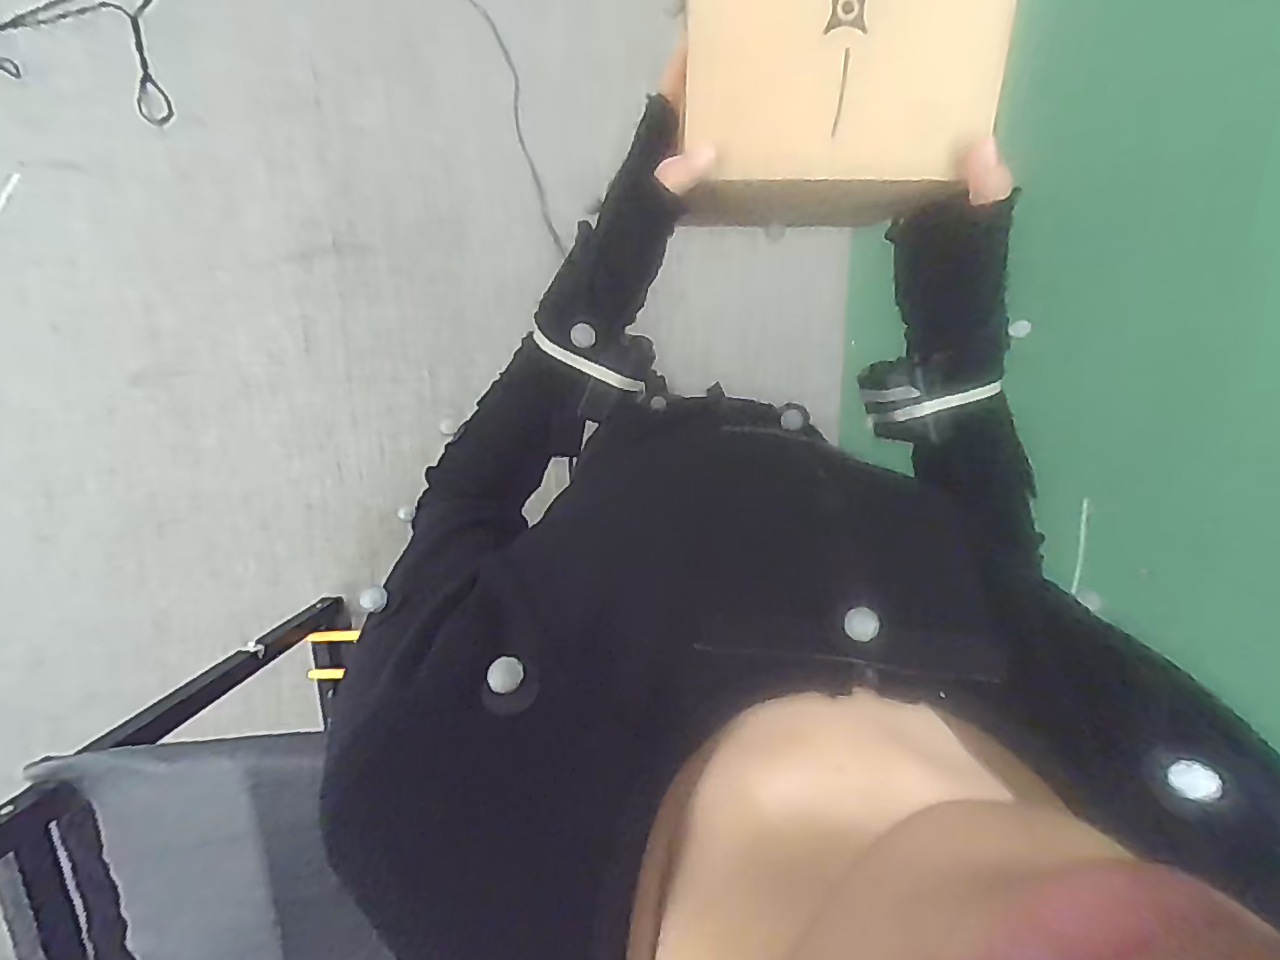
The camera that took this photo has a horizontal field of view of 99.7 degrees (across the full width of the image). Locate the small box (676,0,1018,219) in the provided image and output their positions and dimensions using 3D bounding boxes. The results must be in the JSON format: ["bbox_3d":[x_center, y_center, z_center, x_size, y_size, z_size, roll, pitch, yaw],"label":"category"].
[{"bbox_3d":[0.109,-0.278,0.345,0.168,0.176,0.179,1,107,2],"label":"small box"}]
